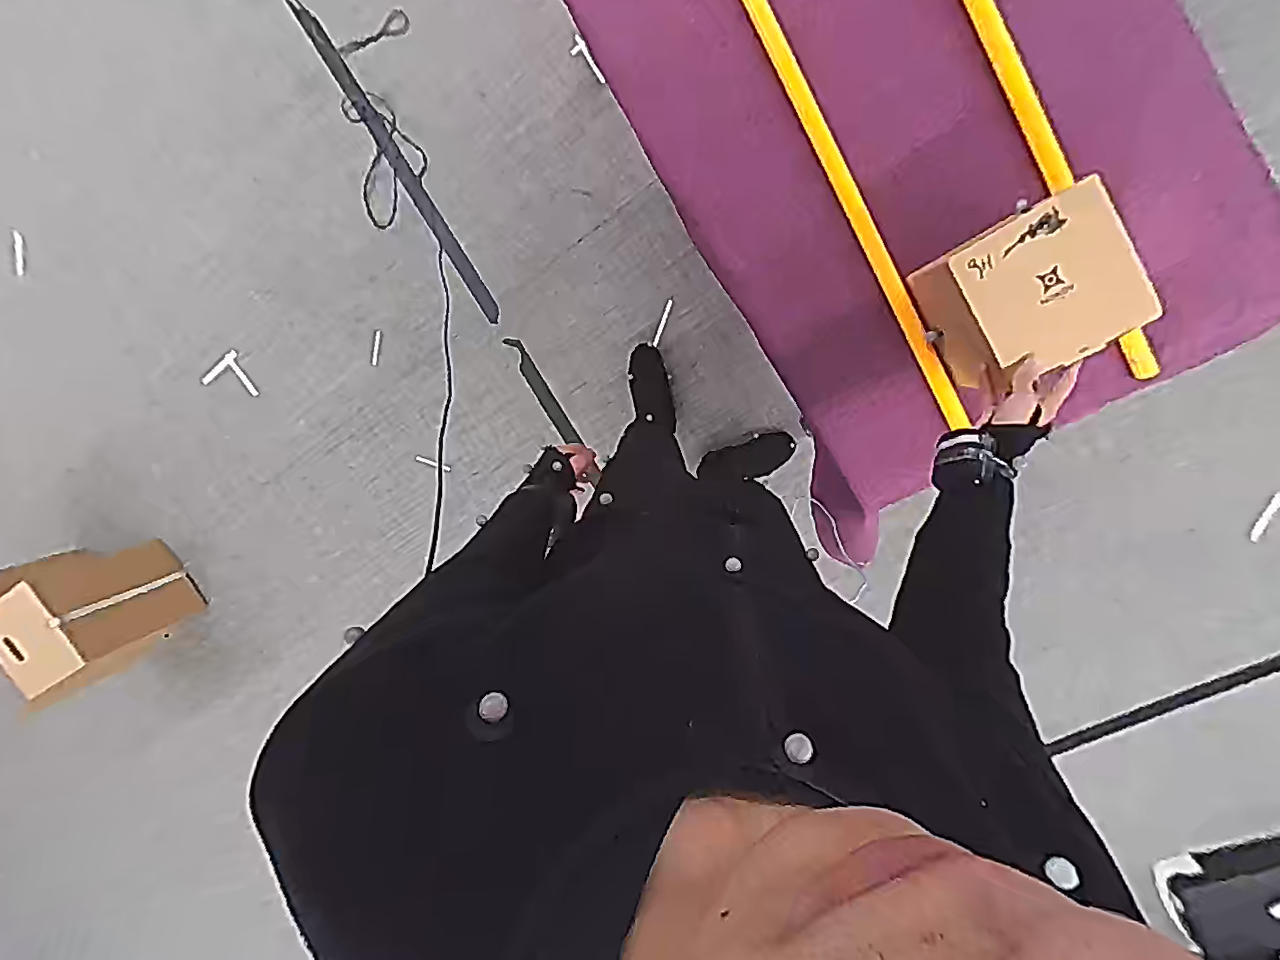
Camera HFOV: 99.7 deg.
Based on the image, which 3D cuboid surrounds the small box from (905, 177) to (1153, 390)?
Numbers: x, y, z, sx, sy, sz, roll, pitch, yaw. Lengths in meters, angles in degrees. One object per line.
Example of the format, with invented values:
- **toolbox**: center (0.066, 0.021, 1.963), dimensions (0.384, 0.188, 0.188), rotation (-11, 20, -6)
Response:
- **small box**: center (0.470, -0.234, 0.682), dimensions (0.168, 0.176, 0.179), rotation (-29, 97, 14)
